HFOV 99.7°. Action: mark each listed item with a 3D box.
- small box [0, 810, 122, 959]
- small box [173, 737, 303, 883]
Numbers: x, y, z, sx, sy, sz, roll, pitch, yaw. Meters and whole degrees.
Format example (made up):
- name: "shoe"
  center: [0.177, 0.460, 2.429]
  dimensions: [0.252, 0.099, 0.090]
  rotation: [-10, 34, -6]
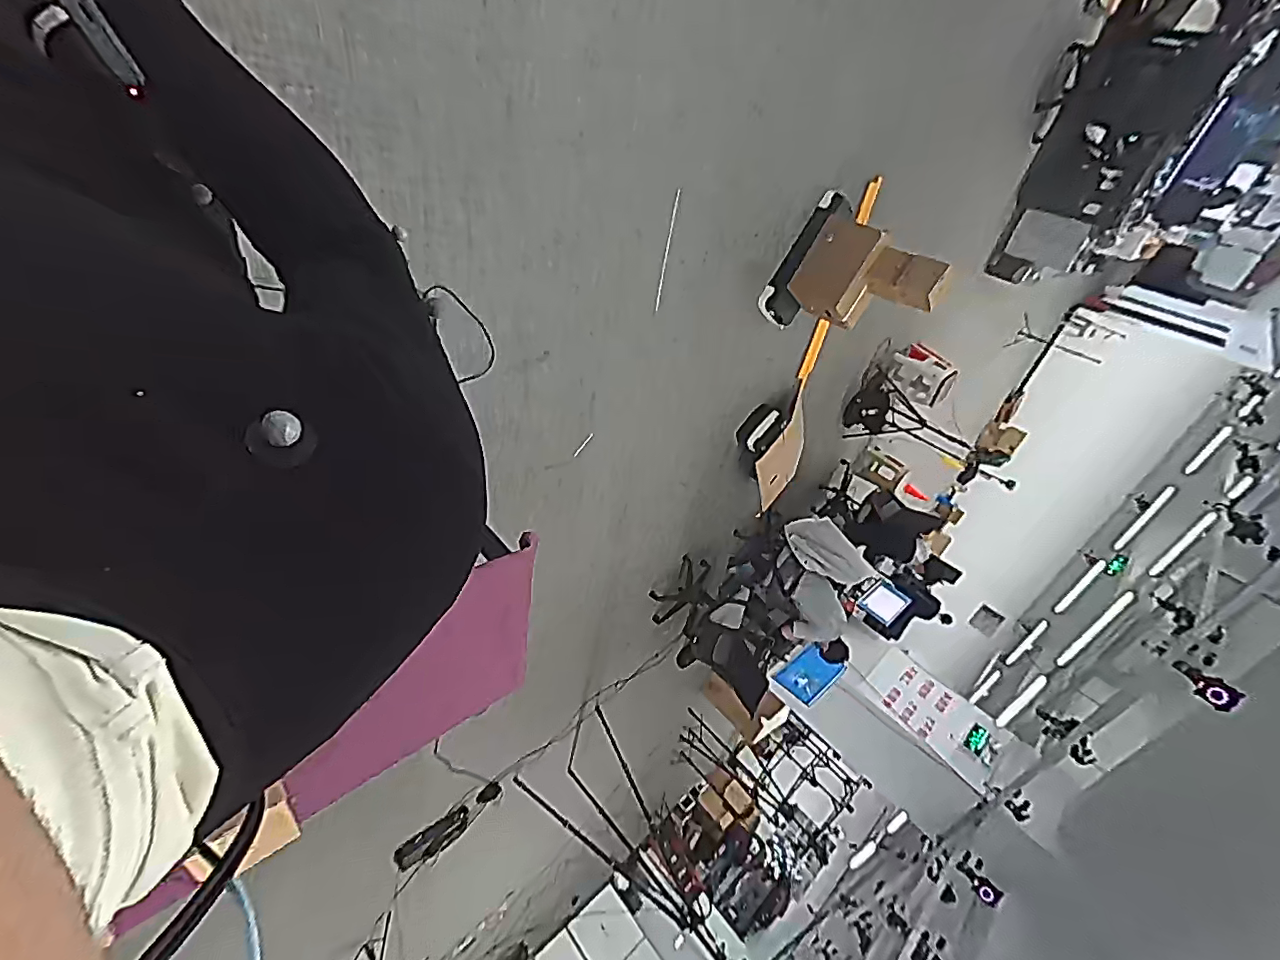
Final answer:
- name: "small box"
  center: [-1.036, 0.726, 0.931]
  dimensions: [0.179, 0.176, 0.168]
  rotation: [-14, 133, -46]
- name: "small box"
  center: [-0.838, 0.682, 1.133]
  dimensions: [0.168, 0.176, 0.179]
  rotation: [-23, 139, -38]
